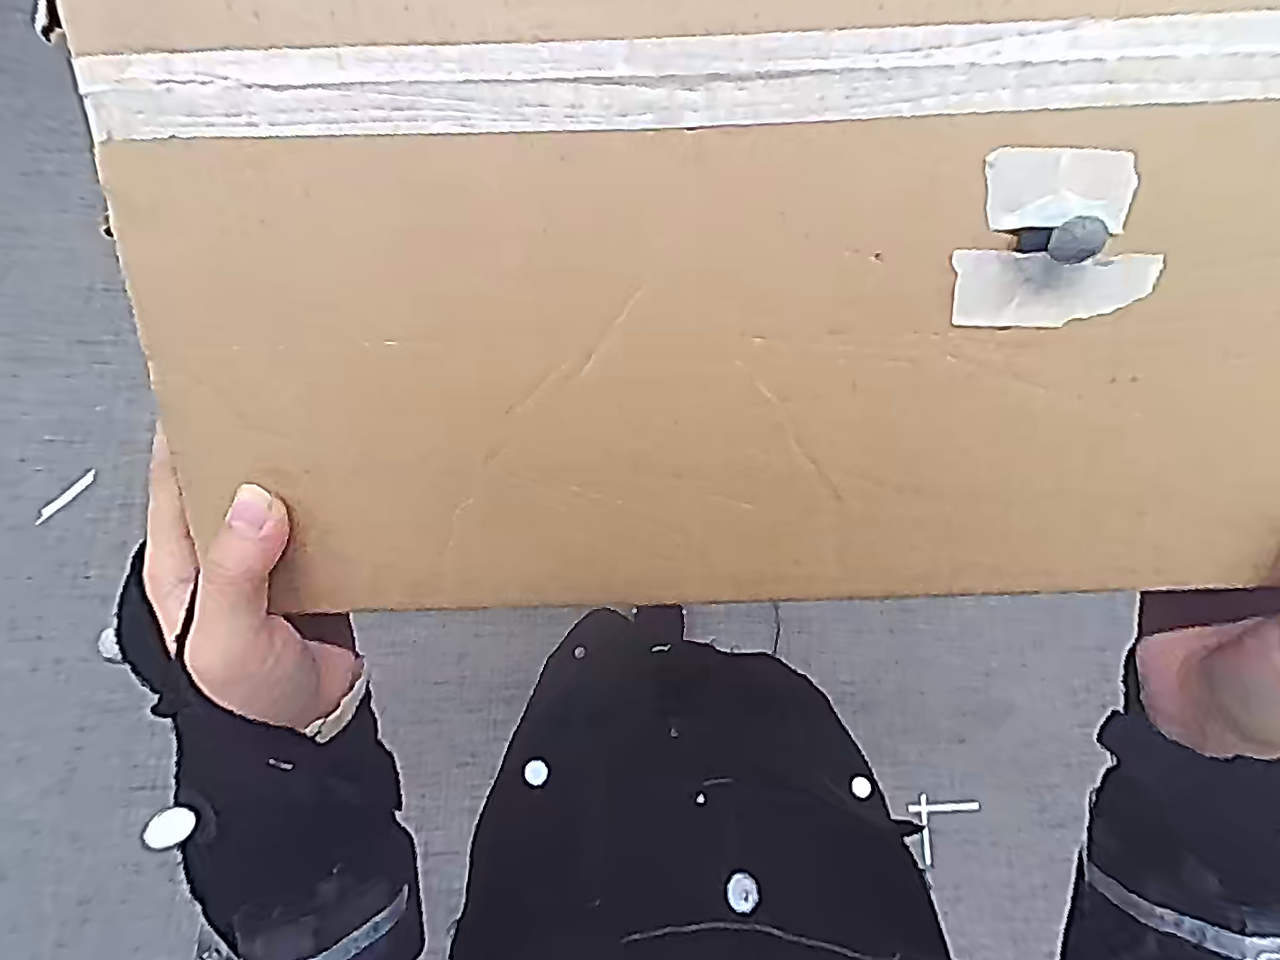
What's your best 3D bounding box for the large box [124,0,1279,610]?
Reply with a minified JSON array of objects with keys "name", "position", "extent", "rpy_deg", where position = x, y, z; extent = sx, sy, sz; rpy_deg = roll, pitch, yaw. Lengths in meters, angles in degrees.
[{"name":"large box","position":[0.047,-0.144,0.308],"extent":[0.408,0.320,0.320],"rpy_deg":[-2,103,-1]}]
